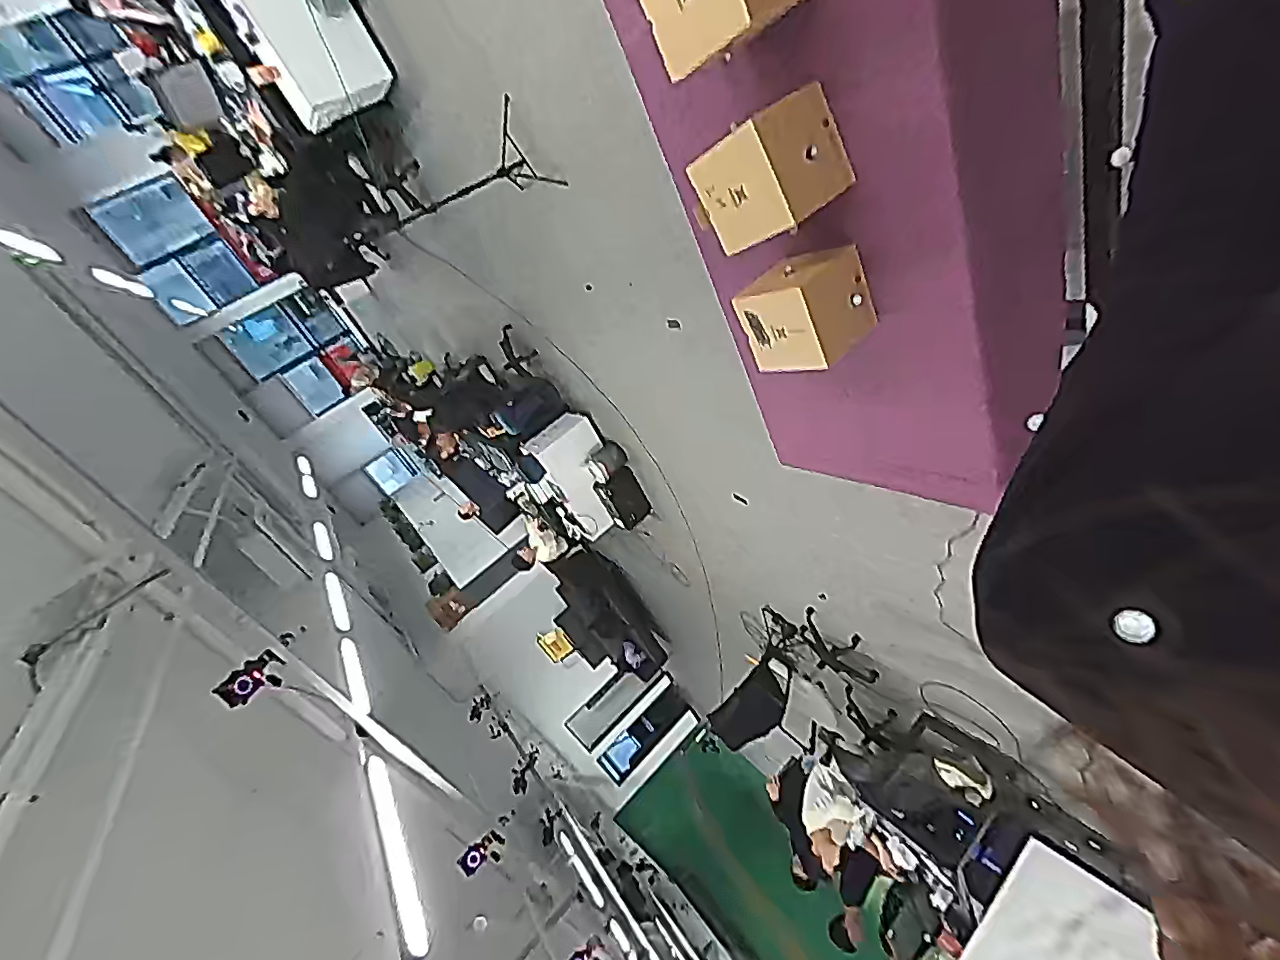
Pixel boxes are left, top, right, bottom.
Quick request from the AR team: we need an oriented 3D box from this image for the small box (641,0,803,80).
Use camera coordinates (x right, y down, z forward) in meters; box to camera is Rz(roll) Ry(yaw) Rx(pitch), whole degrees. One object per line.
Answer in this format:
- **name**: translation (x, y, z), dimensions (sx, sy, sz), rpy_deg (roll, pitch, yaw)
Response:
- **small box**: translation (0.119, -0.725, 0.773), dimensions (0.179, 0.176, 0.168), rpy_deg (18, 144, 57)

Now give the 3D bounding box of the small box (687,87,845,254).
- **small box**: translation (0.221, -0.523, 0.924), dimensions (0.168, 0.176, 0.179), rpy_deg (58, 159, -20)

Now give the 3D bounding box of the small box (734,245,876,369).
- **small box**: translation (0.322, -0.332, 1.058), dimensions (0.179, 0.176, 0.168), rpy_deg (16, 142, 56)
